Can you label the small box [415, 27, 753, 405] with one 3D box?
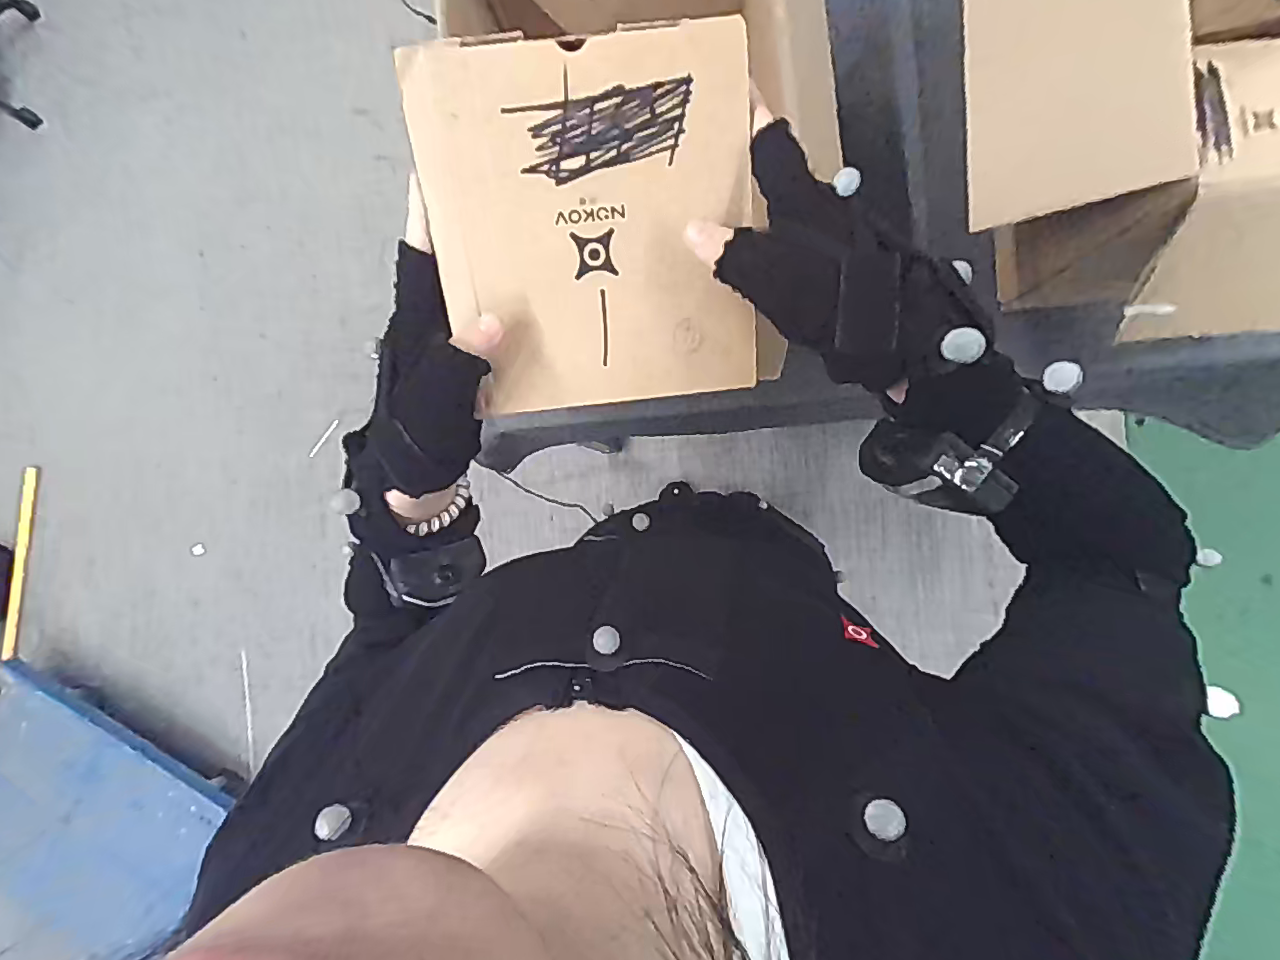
[{"bbox_3d":[-0.028,-0.157,0.361,0.168,0.176,0.179,-6,110,-2],"label":"small box"}]
